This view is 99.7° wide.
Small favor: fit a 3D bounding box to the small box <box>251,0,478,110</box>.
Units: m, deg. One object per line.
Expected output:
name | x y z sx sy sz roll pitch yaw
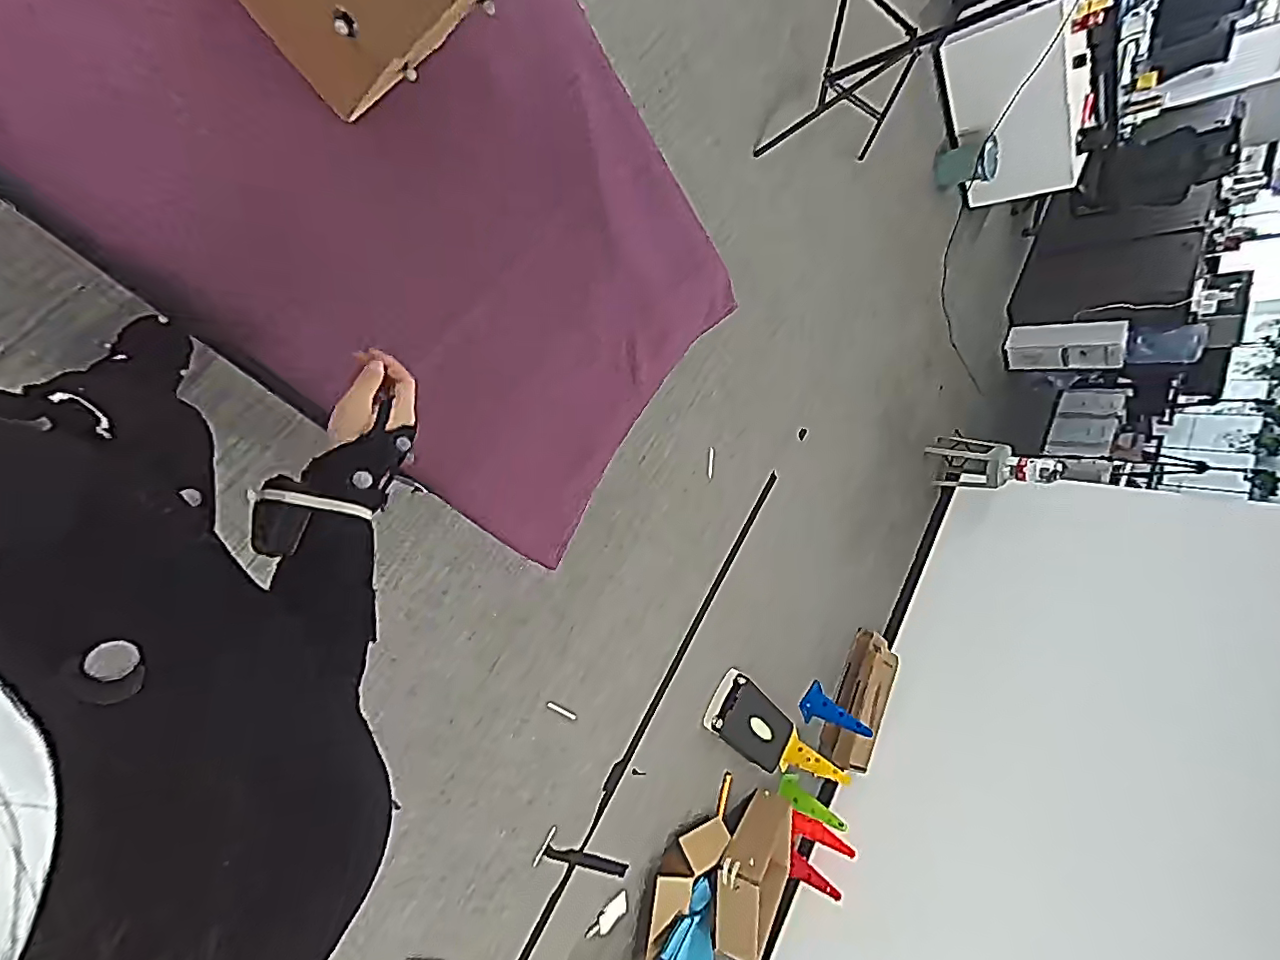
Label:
small box | -0.262 -0.489 0.491 0.179 0.176 0.168 48 65 -39
